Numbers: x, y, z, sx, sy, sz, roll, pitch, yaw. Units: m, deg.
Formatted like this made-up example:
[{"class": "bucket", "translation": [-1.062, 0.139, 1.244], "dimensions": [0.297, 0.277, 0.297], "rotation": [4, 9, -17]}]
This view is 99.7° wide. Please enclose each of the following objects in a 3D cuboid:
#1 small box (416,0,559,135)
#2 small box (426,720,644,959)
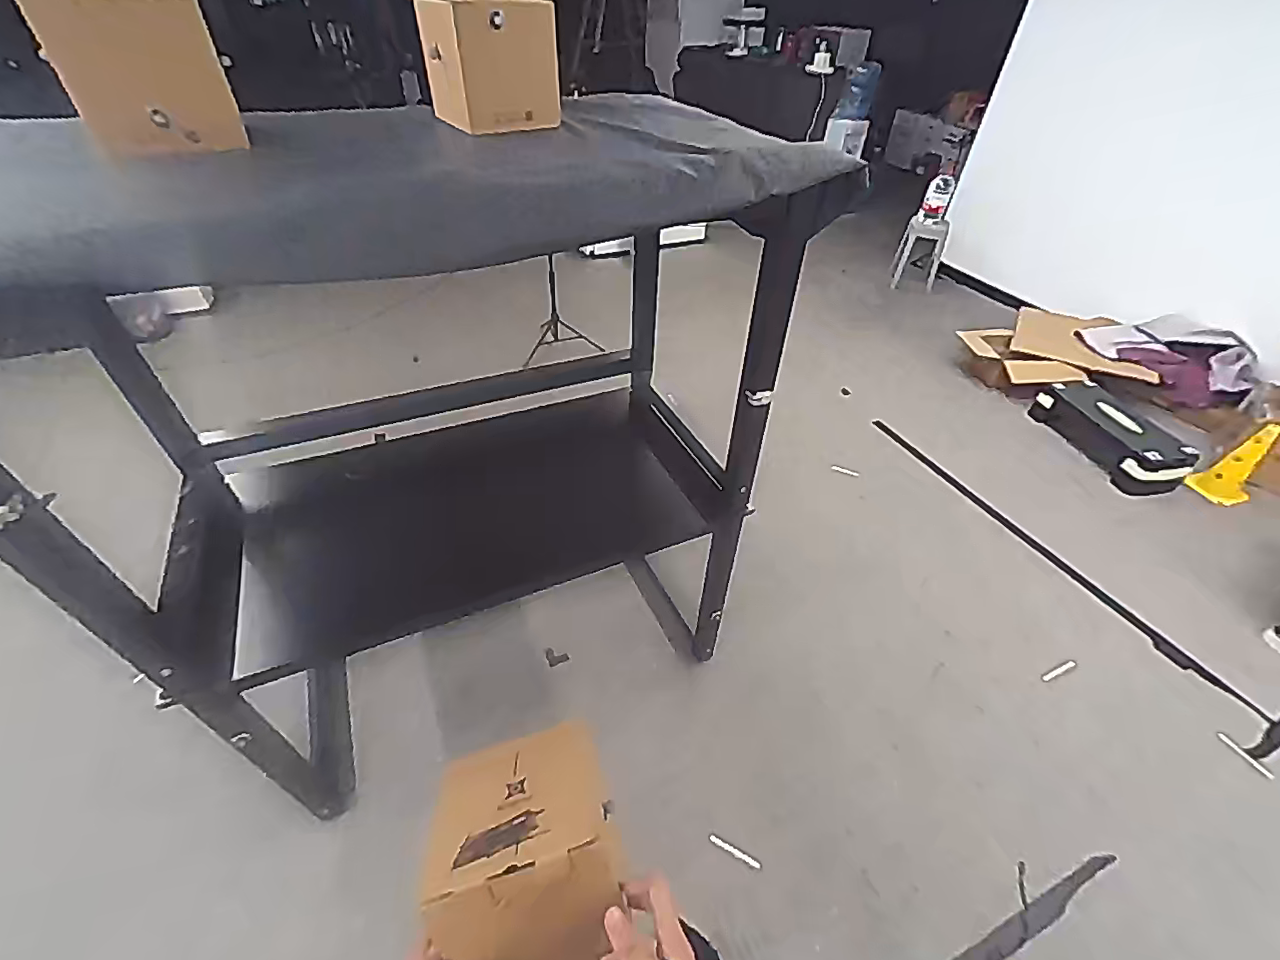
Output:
[{"class": "small box", "translation": [-0.248, -0.686, 0.898], "dimensions": [0.168, 0.176, 0.179], "rotation": [-24, 49, -25]}, {"class": "small box", "translation": [-0.102, 0.400, 0.568], "dimensions": [0.168, 0.176, 0.179], "rotation": [-15, 15, -7]}]
